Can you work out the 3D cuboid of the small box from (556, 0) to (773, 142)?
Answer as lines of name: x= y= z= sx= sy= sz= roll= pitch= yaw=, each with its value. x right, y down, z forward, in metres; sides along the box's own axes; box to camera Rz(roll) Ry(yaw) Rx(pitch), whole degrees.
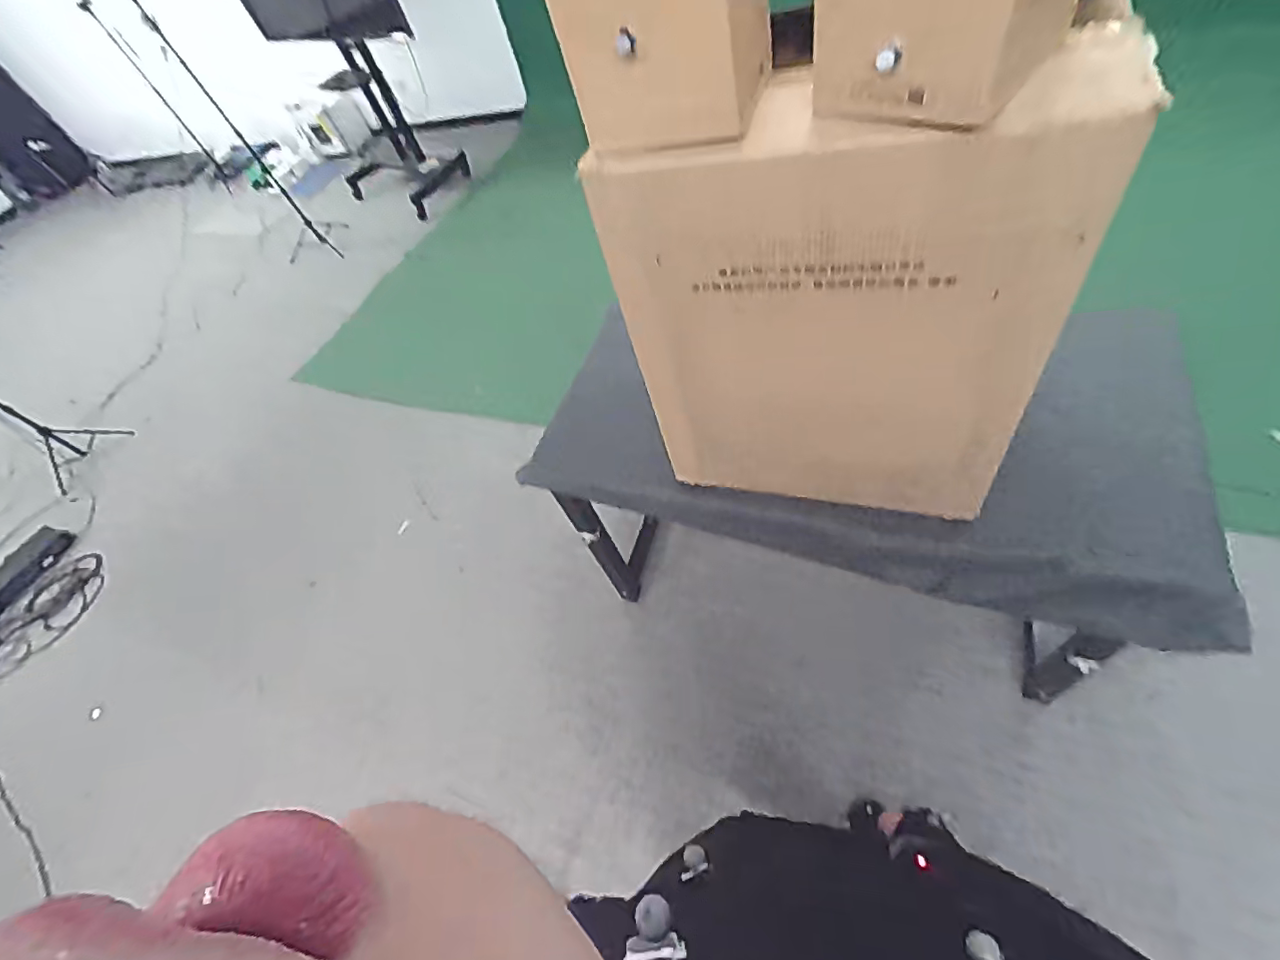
small box: x=0.031 y=-0.483 z=0.563 sx=0.179 sy=0.176 sz=0.168 roll=7 pitch=59 yaw=24

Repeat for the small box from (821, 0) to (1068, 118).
small box: x=0.268 y=-0.449 z=0.463 sx=0.168 sy=0.176 sz=0.179 roll=32 pitch=70 yaw=32
